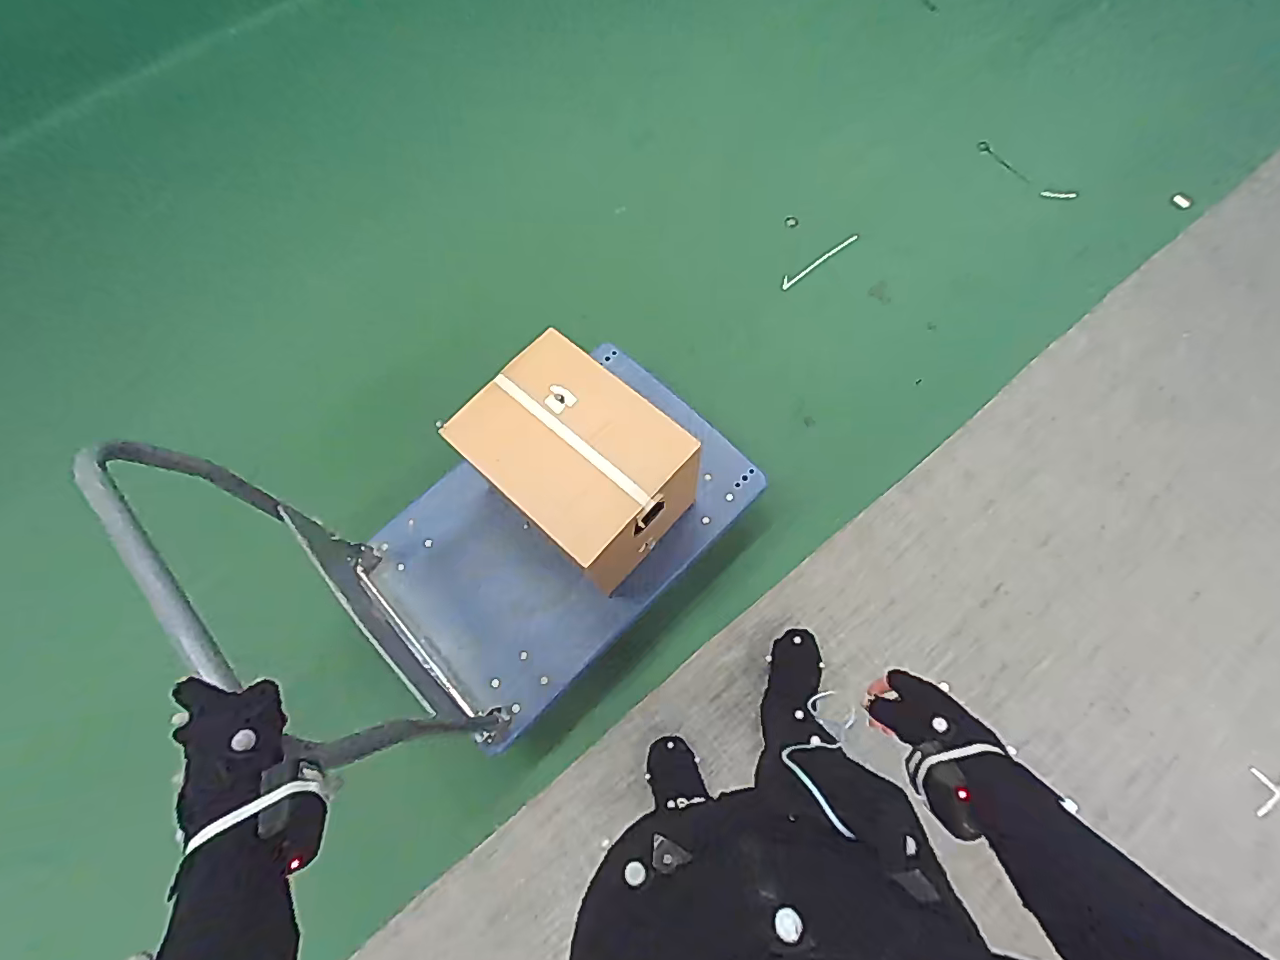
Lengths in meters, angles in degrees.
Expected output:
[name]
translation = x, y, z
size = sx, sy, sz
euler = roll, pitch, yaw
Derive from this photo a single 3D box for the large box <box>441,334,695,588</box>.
[large box]
translation = -0.128, -0.027, 1.165
size = 0.408, 0.320, 0.320
euler = 39, 76, 17
